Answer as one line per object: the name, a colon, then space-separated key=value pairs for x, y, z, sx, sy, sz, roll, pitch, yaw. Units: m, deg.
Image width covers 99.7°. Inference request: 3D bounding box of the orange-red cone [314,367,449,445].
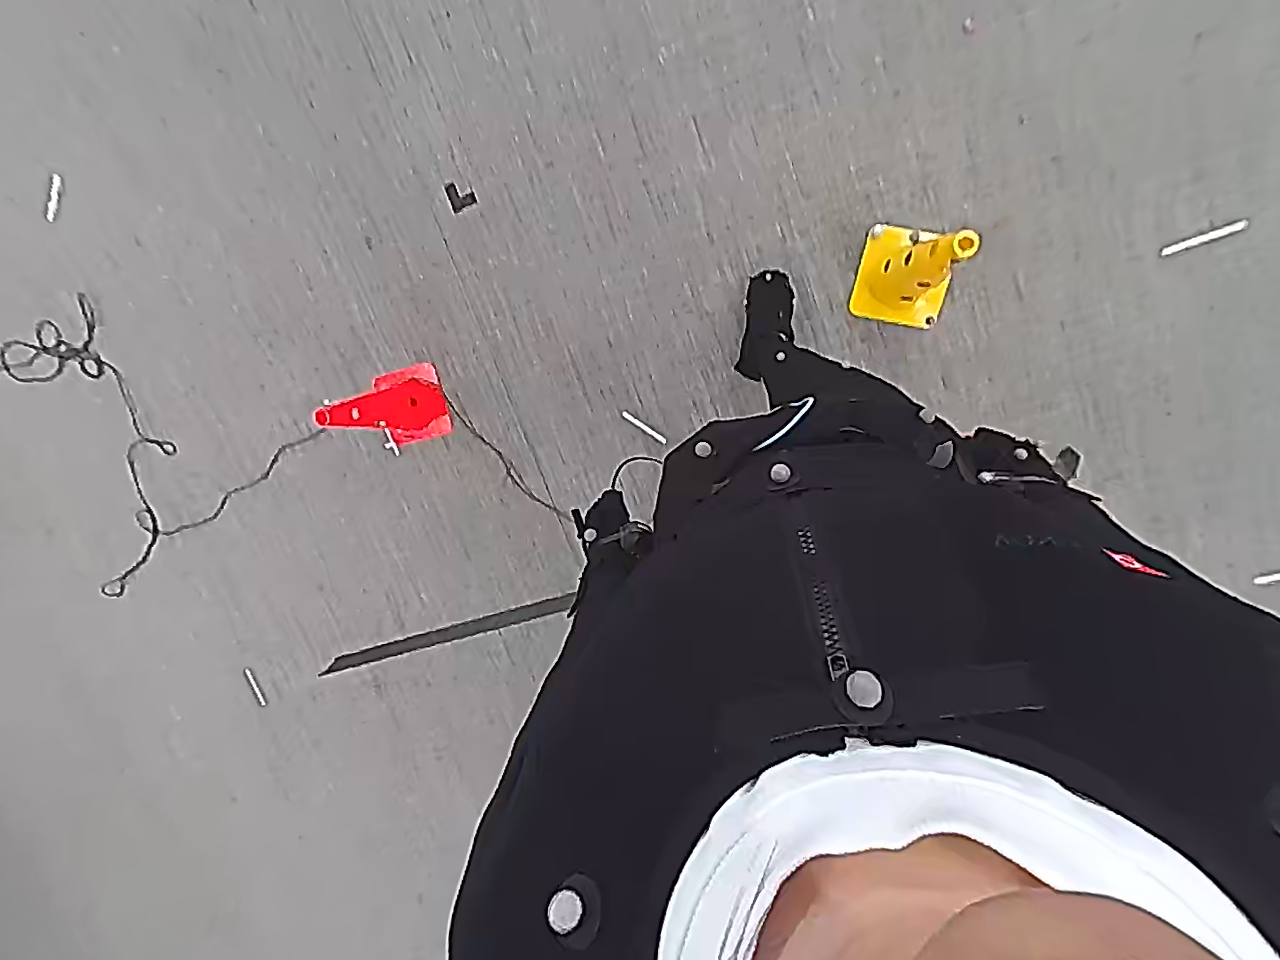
orange-red cone: x=-0.671 y=-0.170 z=1.352 sx=0.199 sy=0.360 sz=0.198 roll=-11 pitch=101 yaw=11
